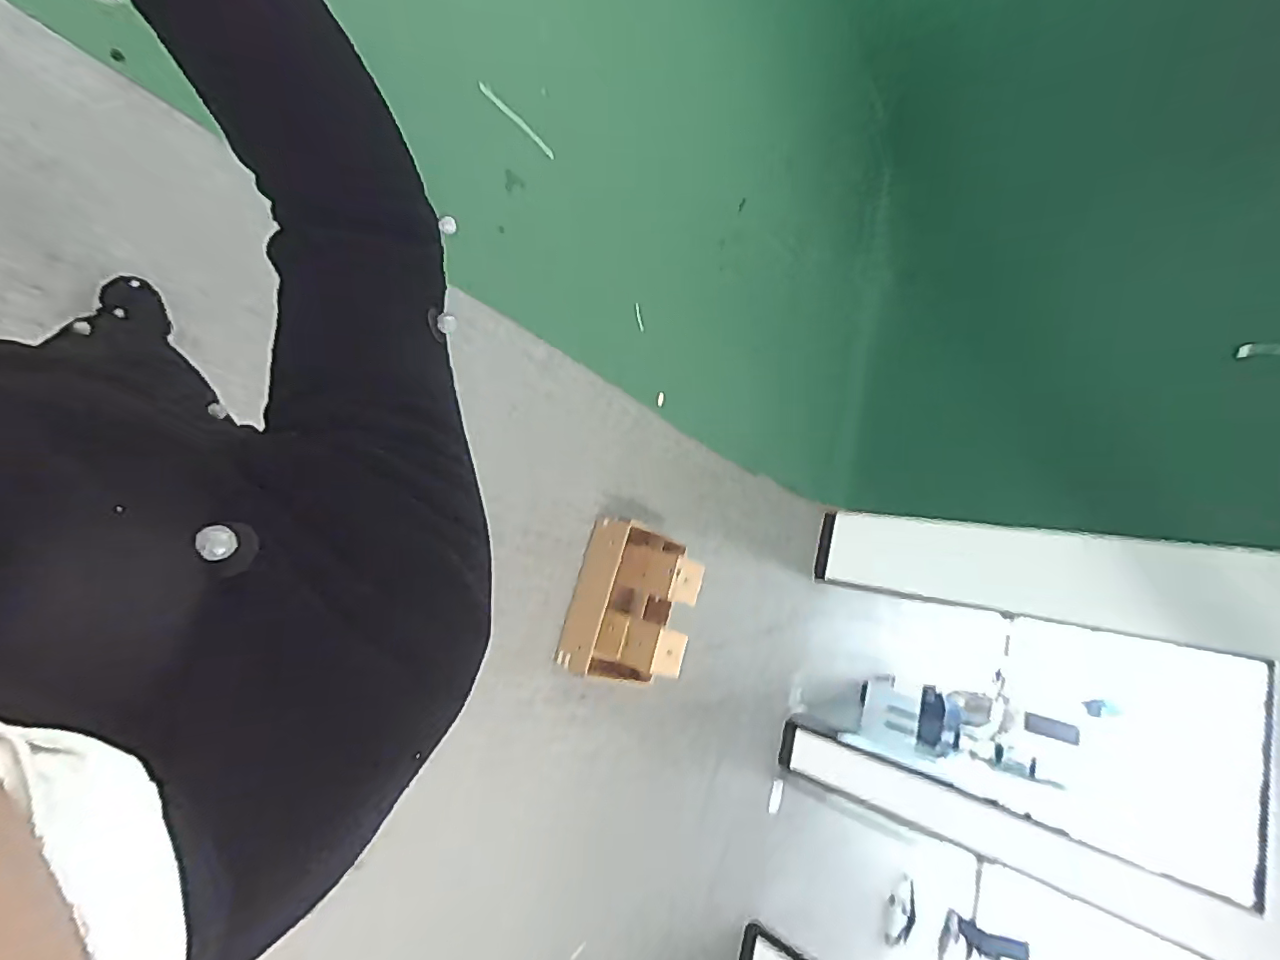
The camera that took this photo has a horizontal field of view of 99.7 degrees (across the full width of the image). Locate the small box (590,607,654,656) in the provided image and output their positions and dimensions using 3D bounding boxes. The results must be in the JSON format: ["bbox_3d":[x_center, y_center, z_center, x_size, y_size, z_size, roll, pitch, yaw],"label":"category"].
[{"bbox_3d":[-0.077,0.622,2.191,0.179,0.176,0.168,29,72,-43],"label":"small box"}]

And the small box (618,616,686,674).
[{"bbox_3d":[0.044,0.632,2.078,0.179,0.176,0.168,30,72,-43],"label":"small box"}]

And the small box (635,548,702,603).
[{"bbox_3d":[0.112,0.373,2.124,0.179,0.176,0.168,26,75,-44],"label":"small box"}]
